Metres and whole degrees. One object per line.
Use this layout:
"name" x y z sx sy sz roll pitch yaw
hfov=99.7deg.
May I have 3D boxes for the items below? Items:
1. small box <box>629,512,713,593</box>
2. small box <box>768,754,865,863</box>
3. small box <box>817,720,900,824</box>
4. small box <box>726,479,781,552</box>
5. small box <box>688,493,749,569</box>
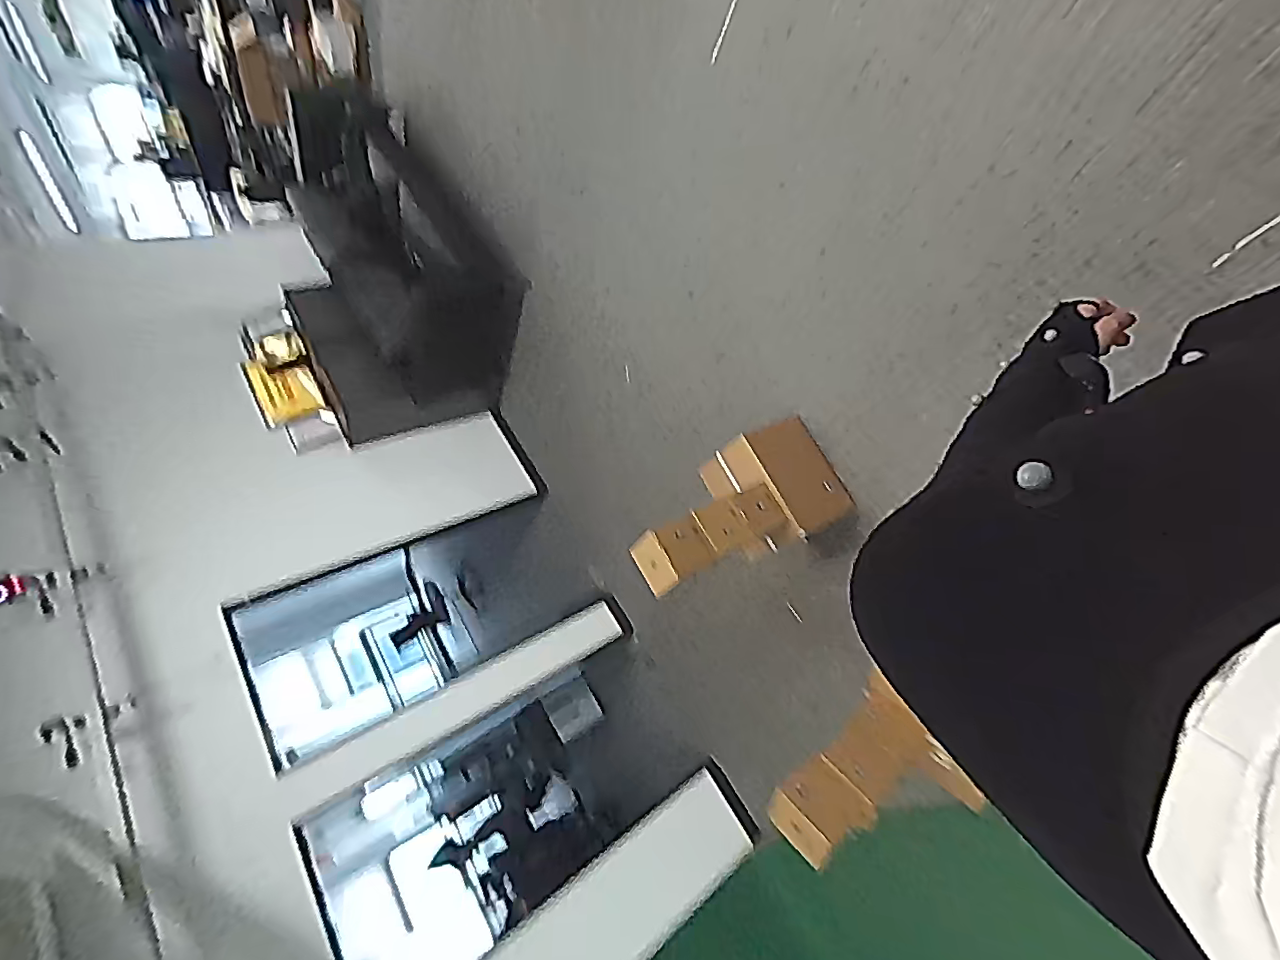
"small box" 0.101 0.221 1.676 0.168 0.176 0.179 59 146 15
"small box" 0.491 0.907 1.515 0.179 0.176 0.168 37 137 38
"small box" 0.628 0.850 1.589 0.179 0.176 0.168 37 136 38
"small box" 0.355 0.118 1.853 0.168 0.176 0.179 59 144 14
"small box" 0.228 0.166 1.762 0.168 0.176 0.179 58 146 14
